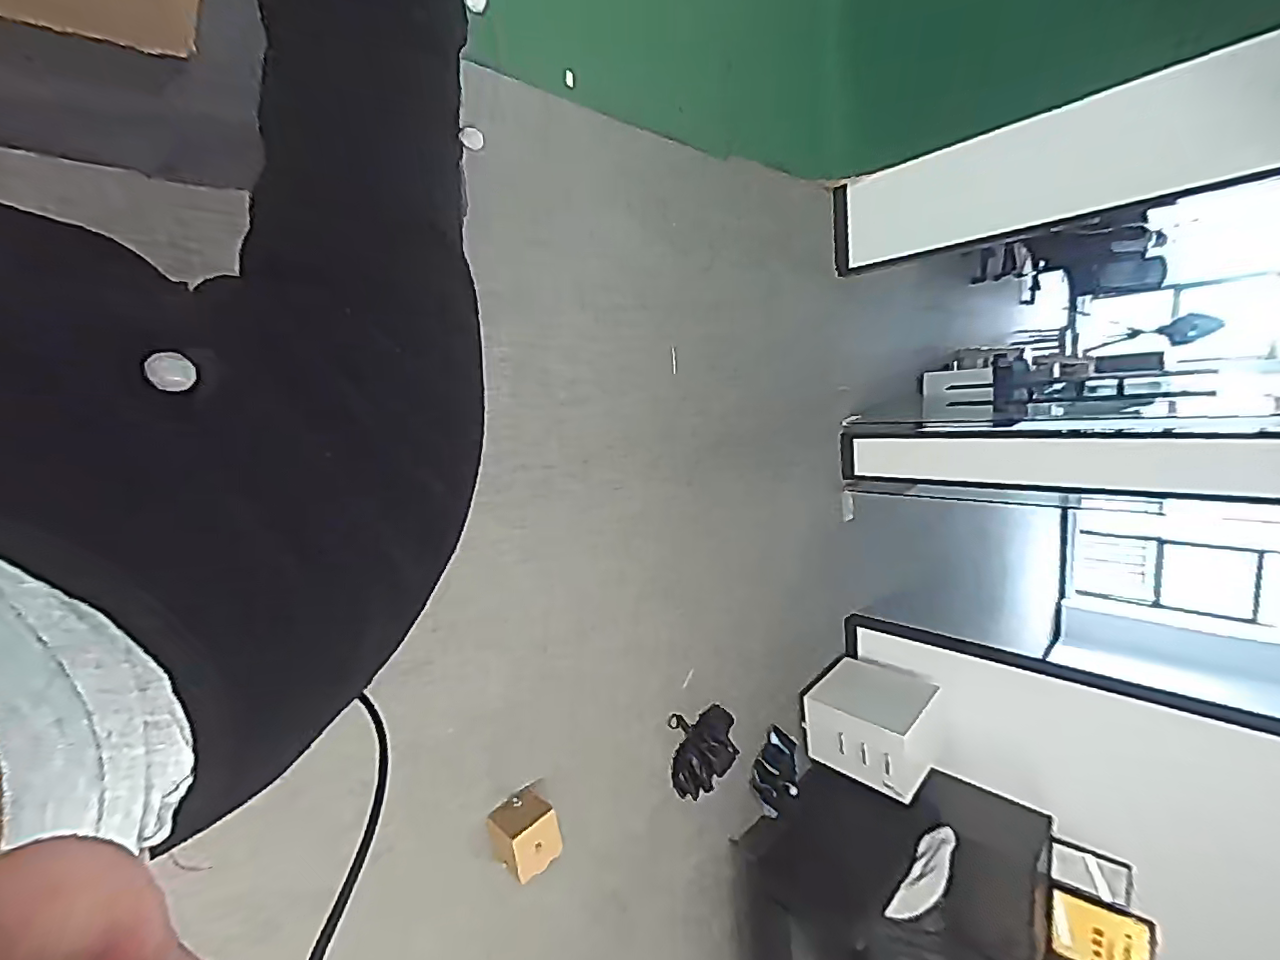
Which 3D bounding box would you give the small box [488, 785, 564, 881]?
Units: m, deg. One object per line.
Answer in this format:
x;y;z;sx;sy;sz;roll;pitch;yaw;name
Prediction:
-0.383;1.171;1.808;0.168;0.176;0.179;-21;106;-42;small box
